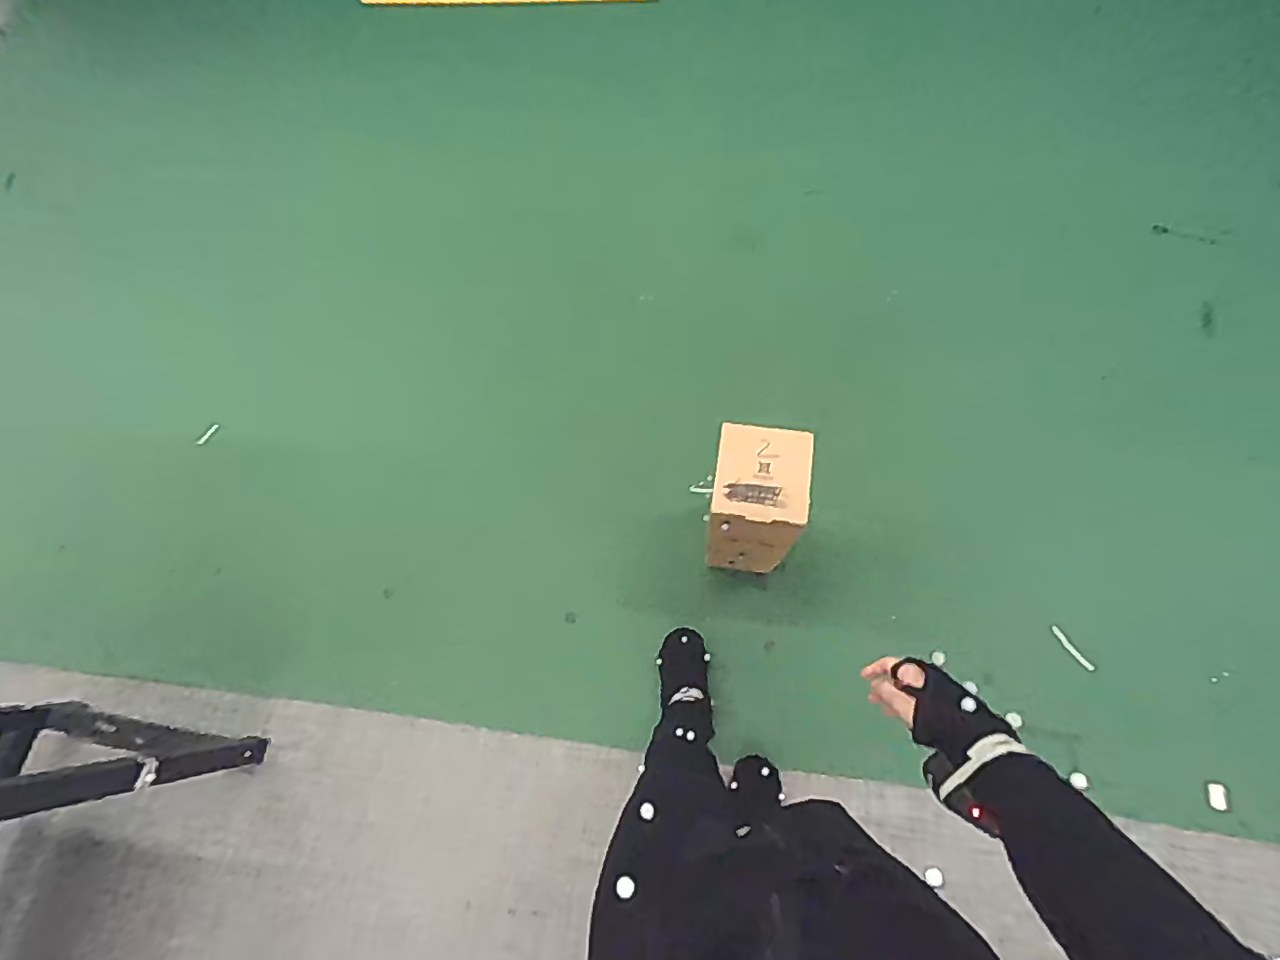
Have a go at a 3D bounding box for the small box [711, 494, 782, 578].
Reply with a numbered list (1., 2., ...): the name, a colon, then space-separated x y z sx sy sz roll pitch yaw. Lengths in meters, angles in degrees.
1. small box: 0.264 0.138 1.334 0.168 0.176 0.179 5 71 8

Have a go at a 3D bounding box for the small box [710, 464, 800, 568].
1. small box: 0.245 0.082 1.180 0.168 0.176 0.179 7 71 9
